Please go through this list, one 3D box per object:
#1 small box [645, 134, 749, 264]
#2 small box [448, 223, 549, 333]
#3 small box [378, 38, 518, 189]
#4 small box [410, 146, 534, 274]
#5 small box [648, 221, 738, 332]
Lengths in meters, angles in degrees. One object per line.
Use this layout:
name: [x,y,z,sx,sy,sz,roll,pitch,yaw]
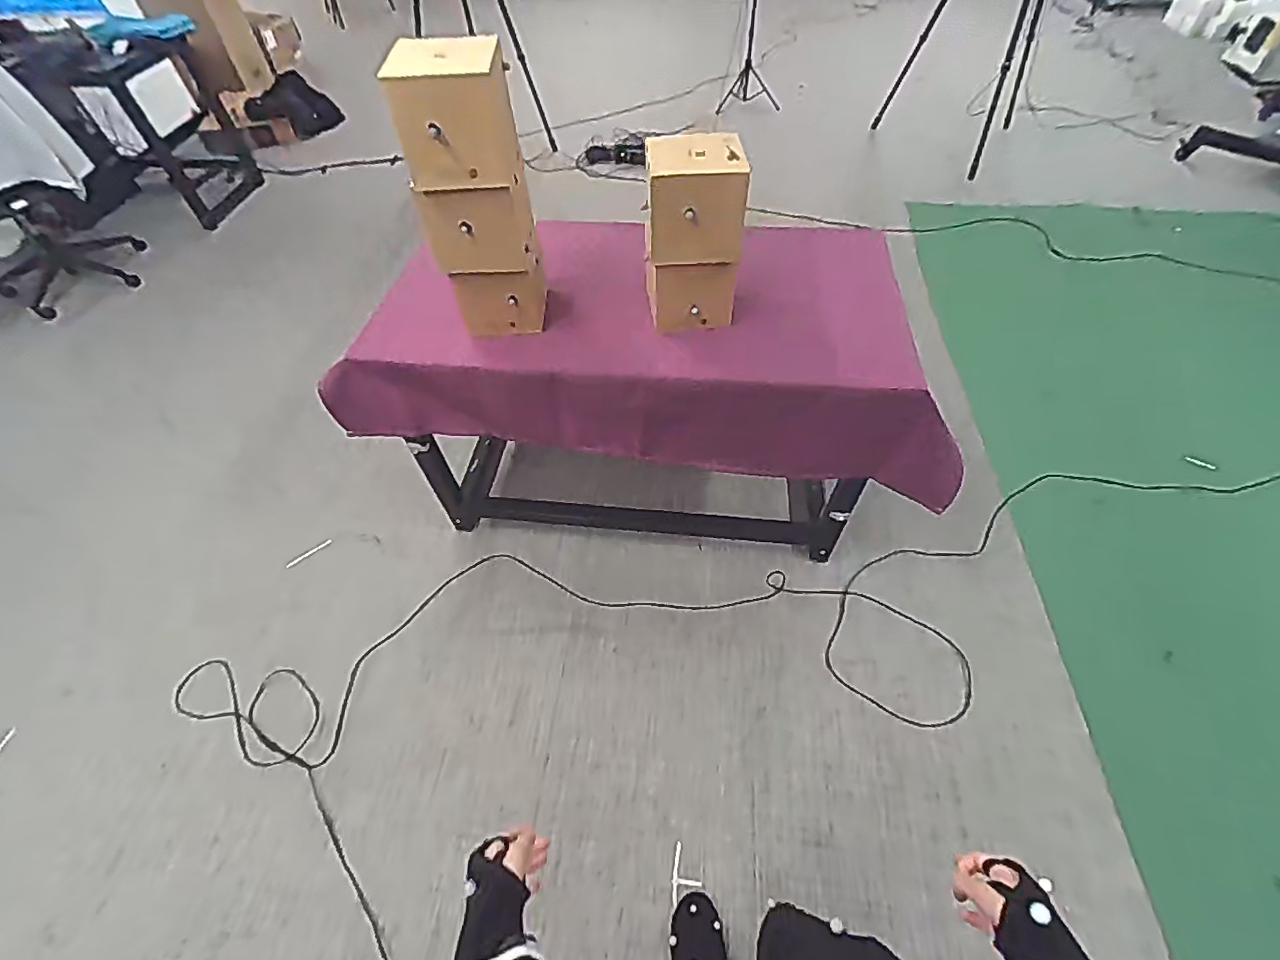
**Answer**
small box: [0.102,-0.529,1.027,0.179,0.176,0.168,-2,53,1]
small box: [-0.299,-0.438,1.186,0.168,0.176,0.179,-1,52,1]
small box: [-0.306,-0.605,0.903,0.168,0.176,0.179,-4,52,-2]
small box: [-0.309,-0.516,1.040,0.179,0.176,0.168,-1,53,1]
small box: [0.106,-0.445,1.170,0.168,0.176,0.179,-6,53,-2]
